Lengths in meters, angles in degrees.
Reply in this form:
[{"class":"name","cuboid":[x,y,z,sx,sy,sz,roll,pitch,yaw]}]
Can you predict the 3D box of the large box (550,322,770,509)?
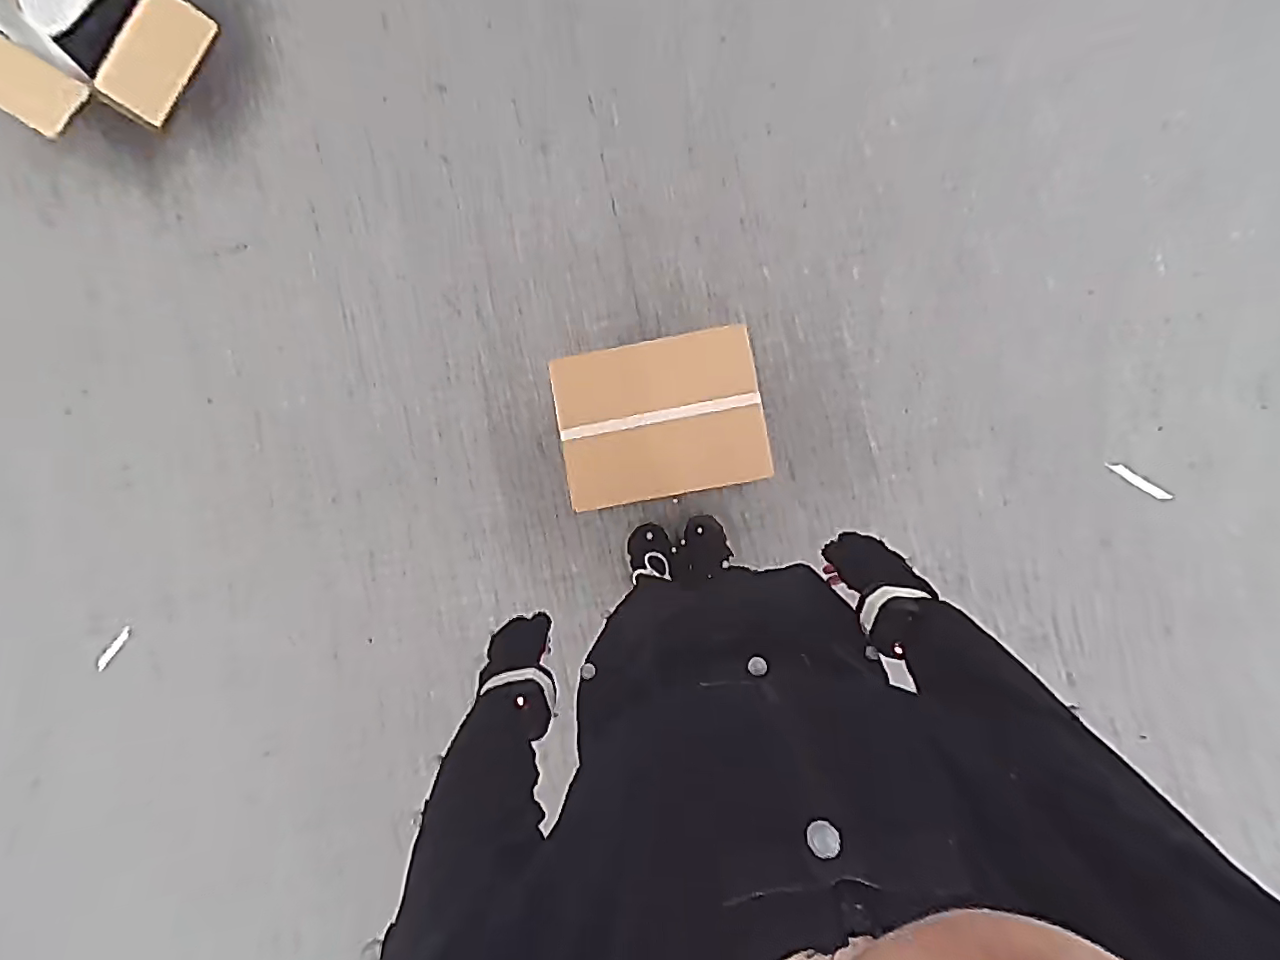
[{"class":"large box","cuboid":[0.044,-0.123,1.230,0.408,0.320,0.320,-10,88,3]}]
